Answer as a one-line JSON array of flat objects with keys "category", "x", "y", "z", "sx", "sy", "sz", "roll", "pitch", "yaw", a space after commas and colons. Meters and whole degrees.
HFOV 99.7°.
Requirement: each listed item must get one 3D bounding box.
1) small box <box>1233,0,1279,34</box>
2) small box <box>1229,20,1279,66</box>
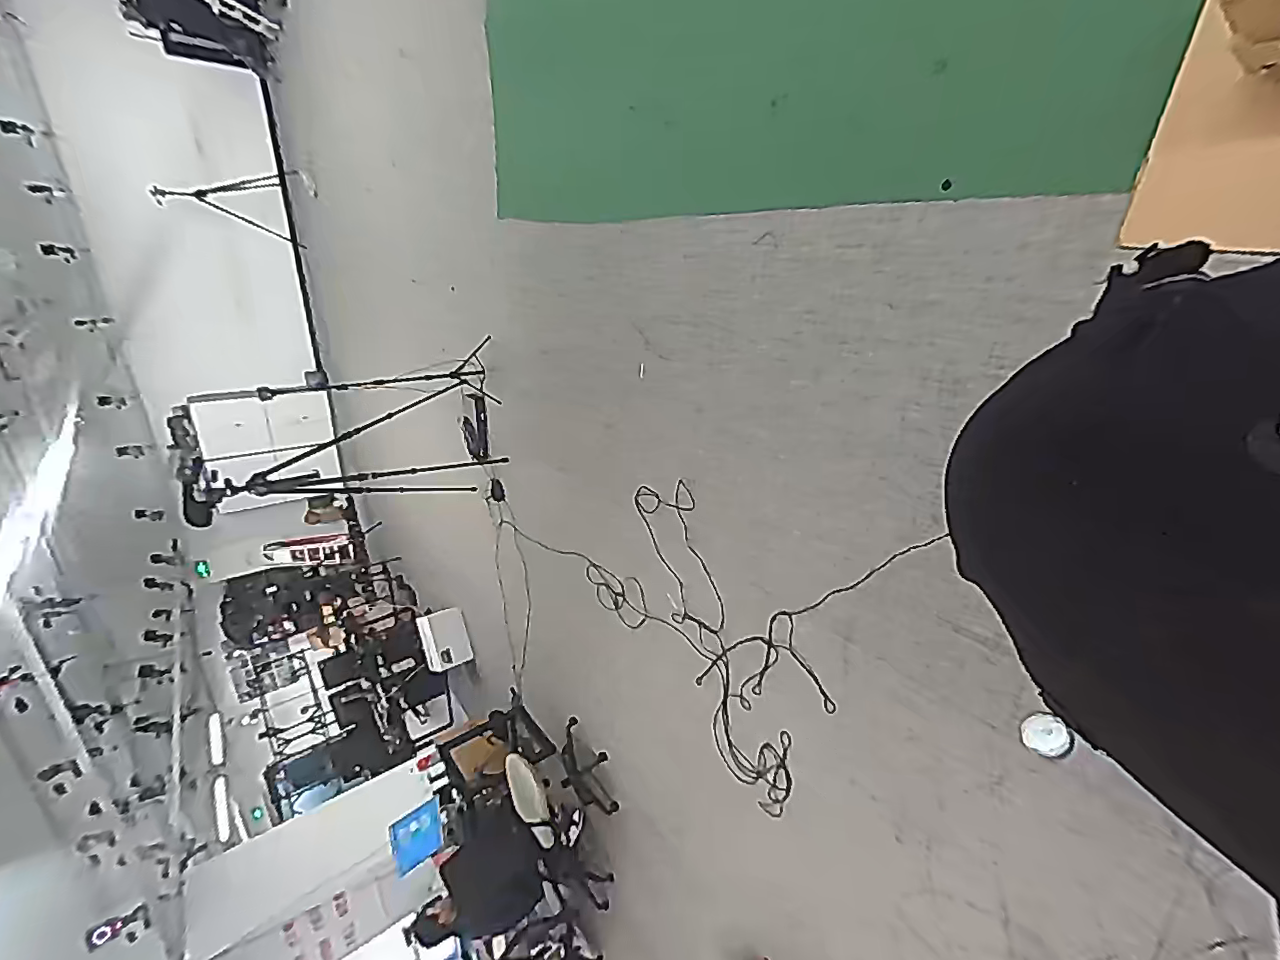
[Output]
[{"category": "small box", "x": 0.899, "y": -0.706, "z": 0.680, "sx": 0.168, "sy": 0.176, "sz": 0.179, "roll": 33, "pitch": 126, "yaw": 44}, {"category": "small box", "x": 1.023, "y": -0.728, "z": 0.784, "sx": 0.168, "sy": 0.176, "sz": 0.179, "roll": 32, "pitch": 125, "yaw": 45}]
